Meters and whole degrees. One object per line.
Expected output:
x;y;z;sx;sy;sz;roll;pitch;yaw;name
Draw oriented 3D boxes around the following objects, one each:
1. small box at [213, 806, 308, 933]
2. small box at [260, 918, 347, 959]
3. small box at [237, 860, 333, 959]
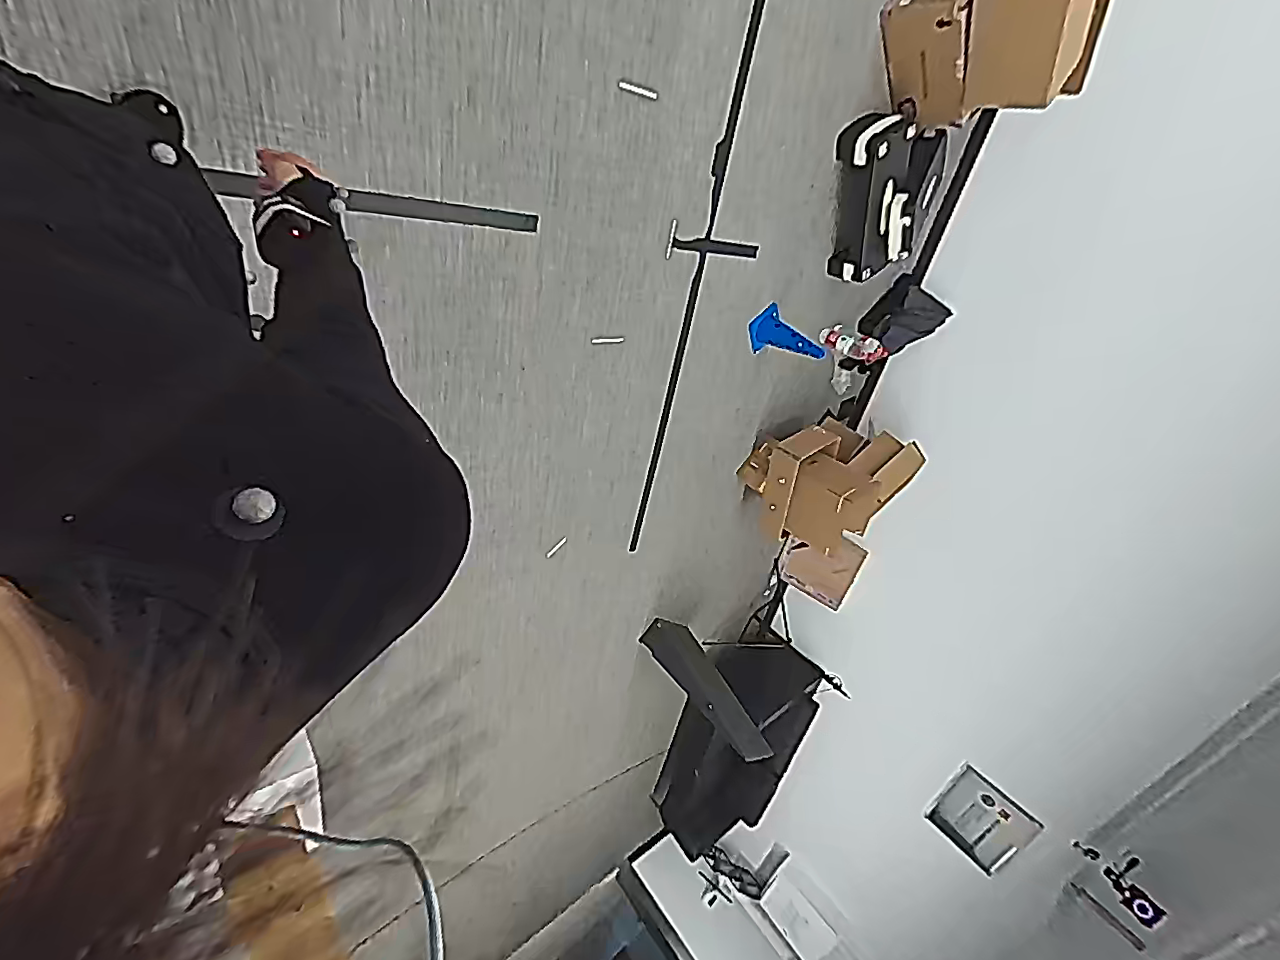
-0.974;0.991;1.392;0.179;0.176;0.168;-10;127;-41;small box
-0.752;1.140;1.203;0.179;0.176;0.168;-12;128;-41;small box
-0.859;1.069;1.307;0.168;0.176;0.179;-9;127;-42;small box
